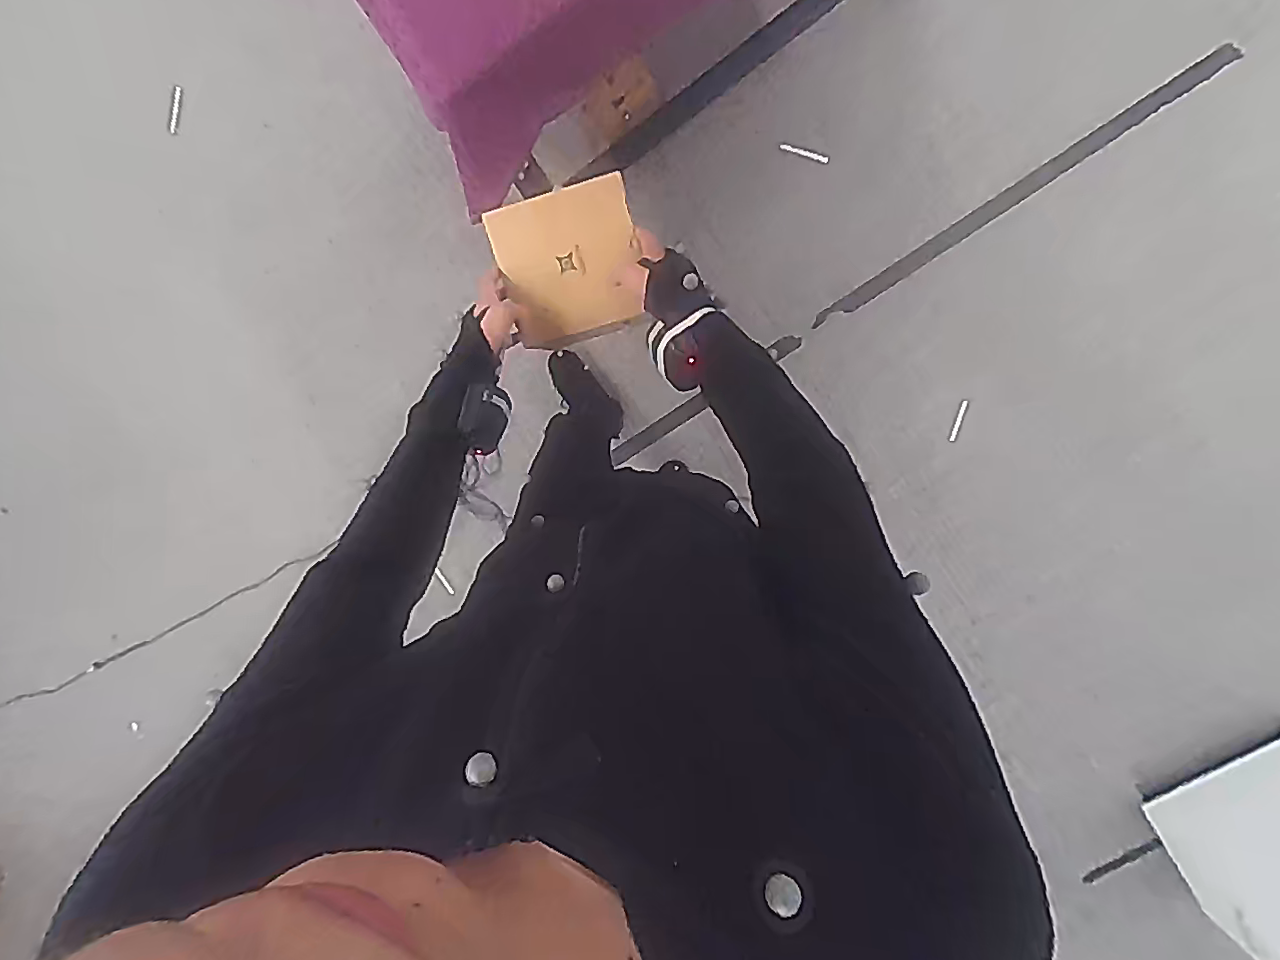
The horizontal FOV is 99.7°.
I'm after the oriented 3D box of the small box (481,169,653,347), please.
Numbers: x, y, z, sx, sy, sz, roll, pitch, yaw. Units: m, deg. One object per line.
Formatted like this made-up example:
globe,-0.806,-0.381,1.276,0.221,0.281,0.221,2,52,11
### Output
small box,-0.085,-0.281,0.729,0.179,0.176,0.168,-15,102,4
